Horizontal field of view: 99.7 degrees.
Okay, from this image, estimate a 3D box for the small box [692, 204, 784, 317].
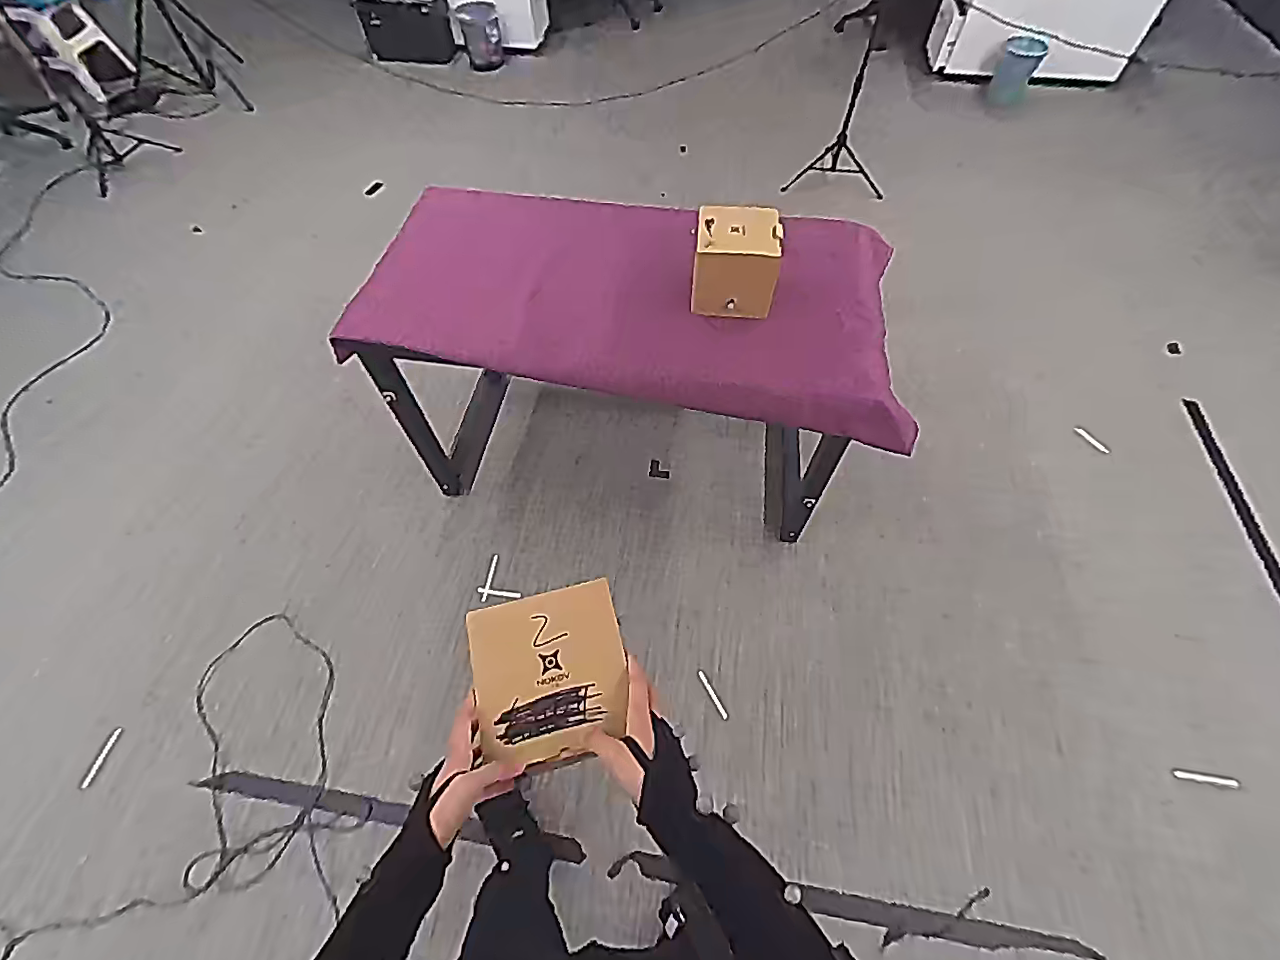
[{"bbox_3d":[0.215,-0.485,1.210,0.179,0.176,0.168,5,58,3],"label":"small box"}]
